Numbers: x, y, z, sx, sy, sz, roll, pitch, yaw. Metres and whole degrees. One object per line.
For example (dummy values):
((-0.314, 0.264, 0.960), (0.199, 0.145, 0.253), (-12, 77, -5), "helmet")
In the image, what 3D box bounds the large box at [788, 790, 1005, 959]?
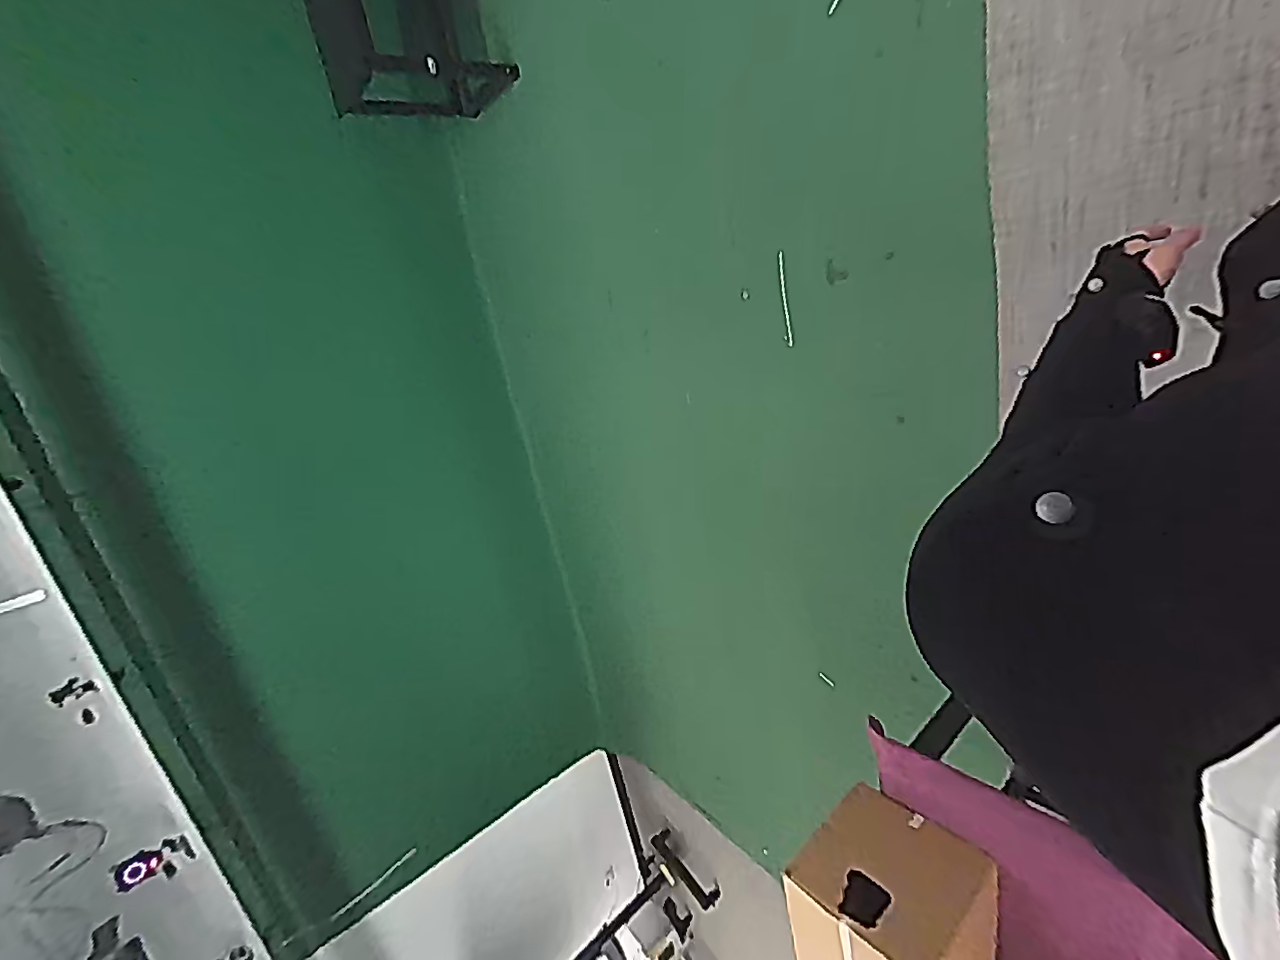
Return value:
((0.564, 1.001, 1.175), (0.320, 0.320, 0.408), (8, 115, 50), "large box")
